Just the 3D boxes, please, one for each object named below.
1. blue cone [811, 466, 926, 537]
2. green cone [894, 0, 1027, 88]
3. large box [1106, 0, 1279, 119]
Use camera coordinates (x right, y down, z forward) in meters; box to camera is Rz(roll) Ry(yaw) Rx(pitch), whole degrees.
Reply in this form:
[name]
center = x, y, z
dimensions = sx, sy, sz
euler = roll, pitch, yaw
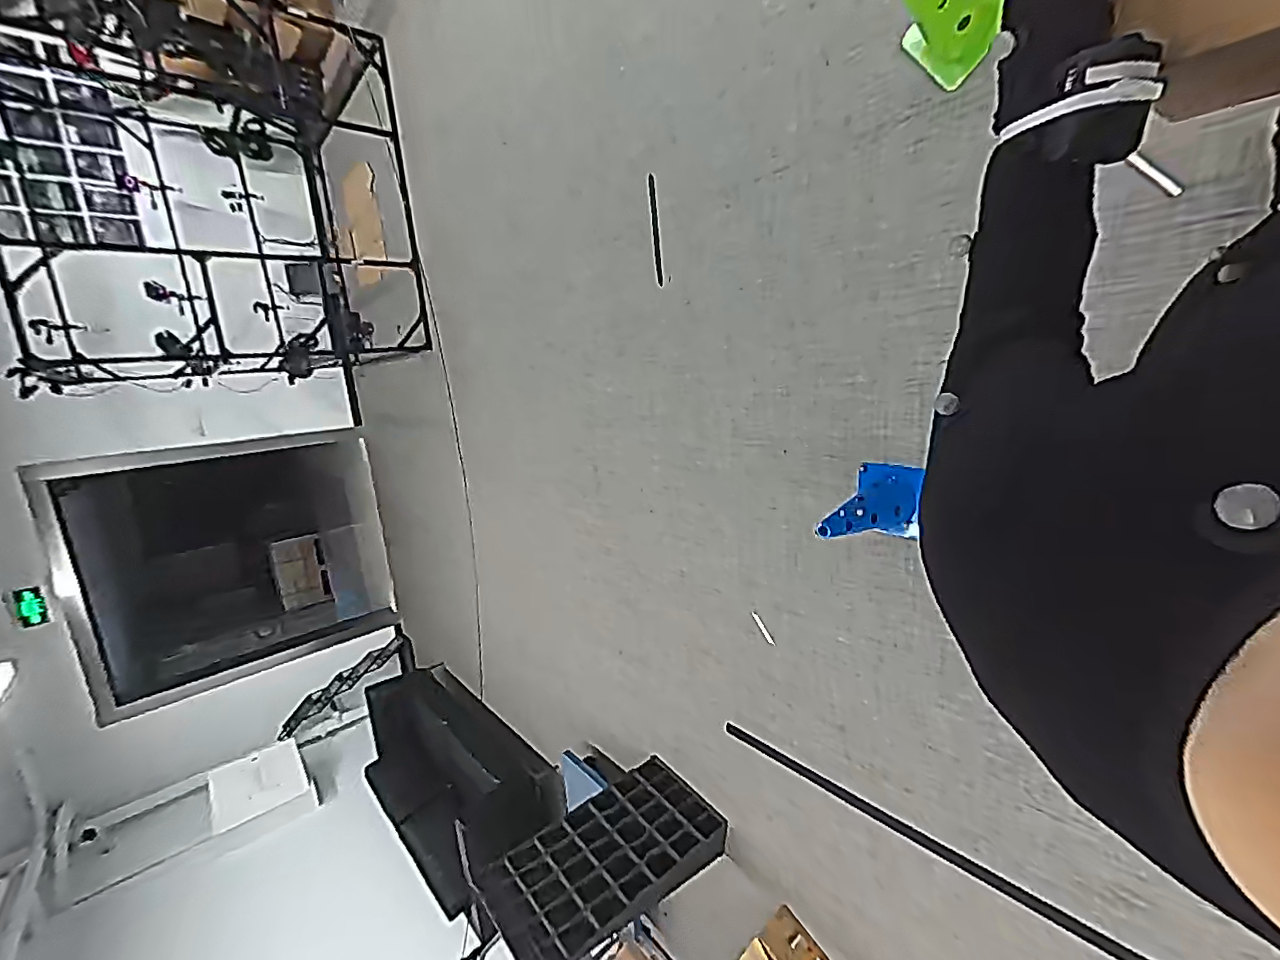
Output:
[blue cone]
center = 0.588, 0.091, 1.442
dimensions = 0.192, 0.380, 0.193
euler = 14, 112, 49
[green cone]
center = 0.581, -0.985, 1.091
dimensions = 0.200, 0.368, 0.202
euler = 62, 141, 18
[large box]
center = 0.535, -0.454, 0.283
dimensions = 0.408, 0.320, 0.320
euler = 8, 114, 48
